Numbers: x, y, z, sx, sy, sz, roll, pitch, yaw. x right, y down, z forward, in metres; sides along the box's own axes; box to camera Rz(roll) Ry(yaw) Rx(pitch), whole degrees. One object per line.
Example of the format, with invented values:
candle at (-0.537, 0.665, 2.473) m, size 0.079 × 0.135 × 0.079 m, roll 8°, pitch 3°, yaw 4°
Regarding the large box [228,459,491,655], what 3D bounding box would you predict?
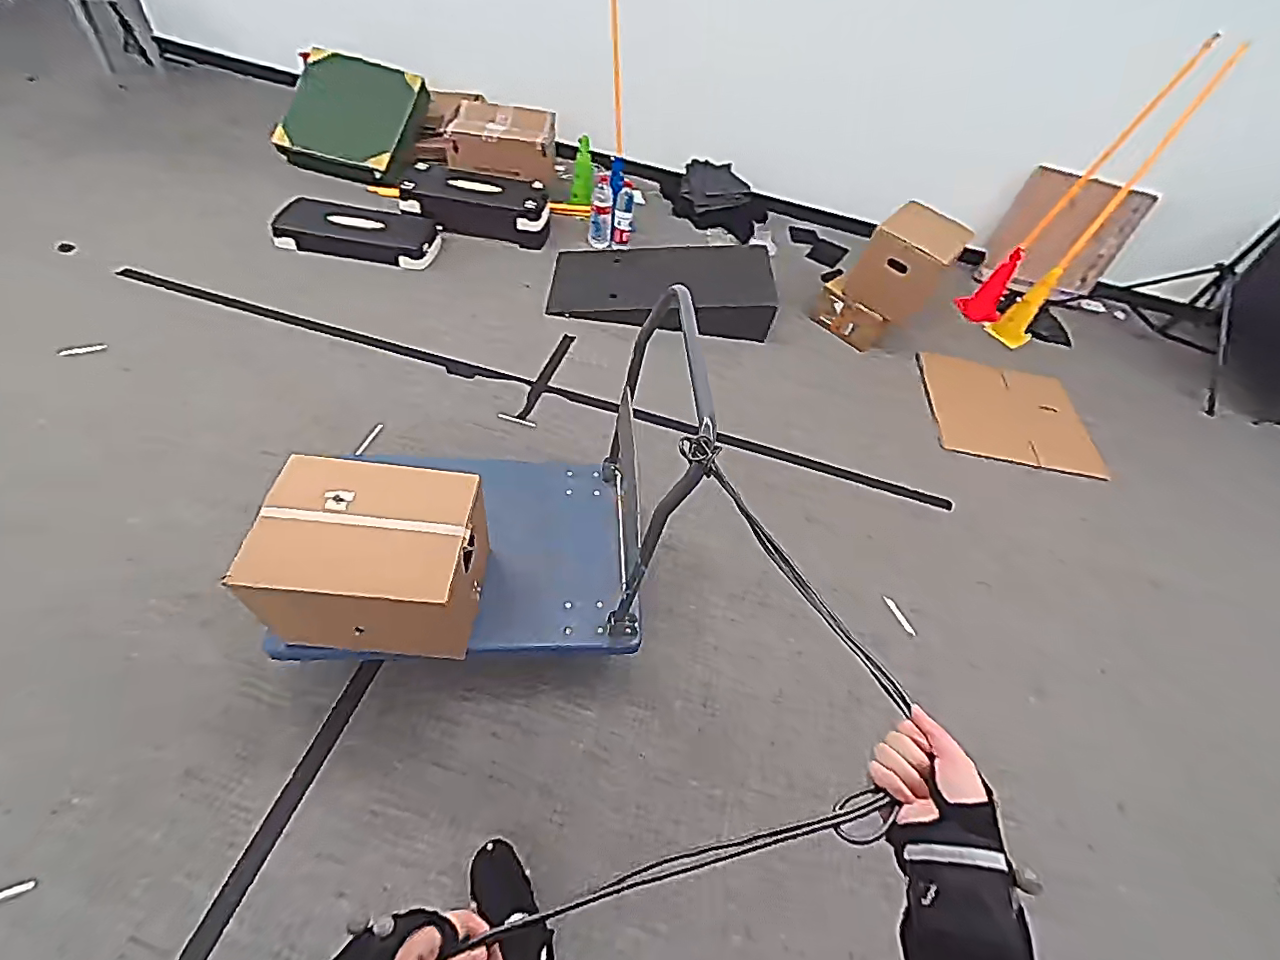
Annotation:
large box at (-0.570, 0.182, 1.207) m, size 0.408 × 0.320 × 0.320 m, roll 6°, pitch 51°, yaw -5°
